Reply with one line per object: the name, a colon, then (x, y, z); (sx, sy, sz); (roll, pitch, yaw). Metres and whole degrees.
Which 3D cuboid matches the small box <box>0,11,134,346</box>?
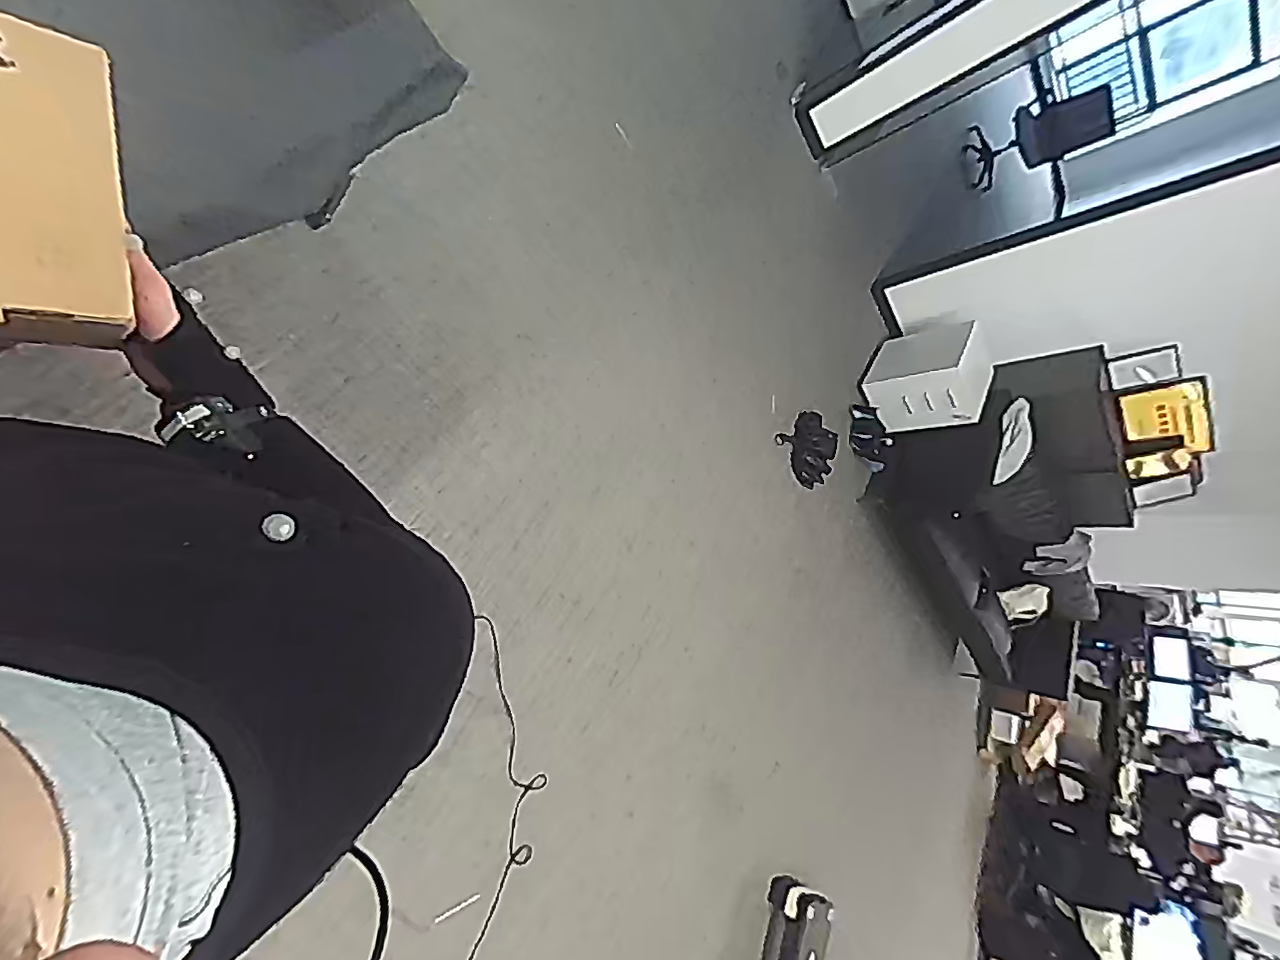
small box: (-0.448, -0.186, 0.347); (0.168, 0.176, 0.179); (-7, 99, -47)
